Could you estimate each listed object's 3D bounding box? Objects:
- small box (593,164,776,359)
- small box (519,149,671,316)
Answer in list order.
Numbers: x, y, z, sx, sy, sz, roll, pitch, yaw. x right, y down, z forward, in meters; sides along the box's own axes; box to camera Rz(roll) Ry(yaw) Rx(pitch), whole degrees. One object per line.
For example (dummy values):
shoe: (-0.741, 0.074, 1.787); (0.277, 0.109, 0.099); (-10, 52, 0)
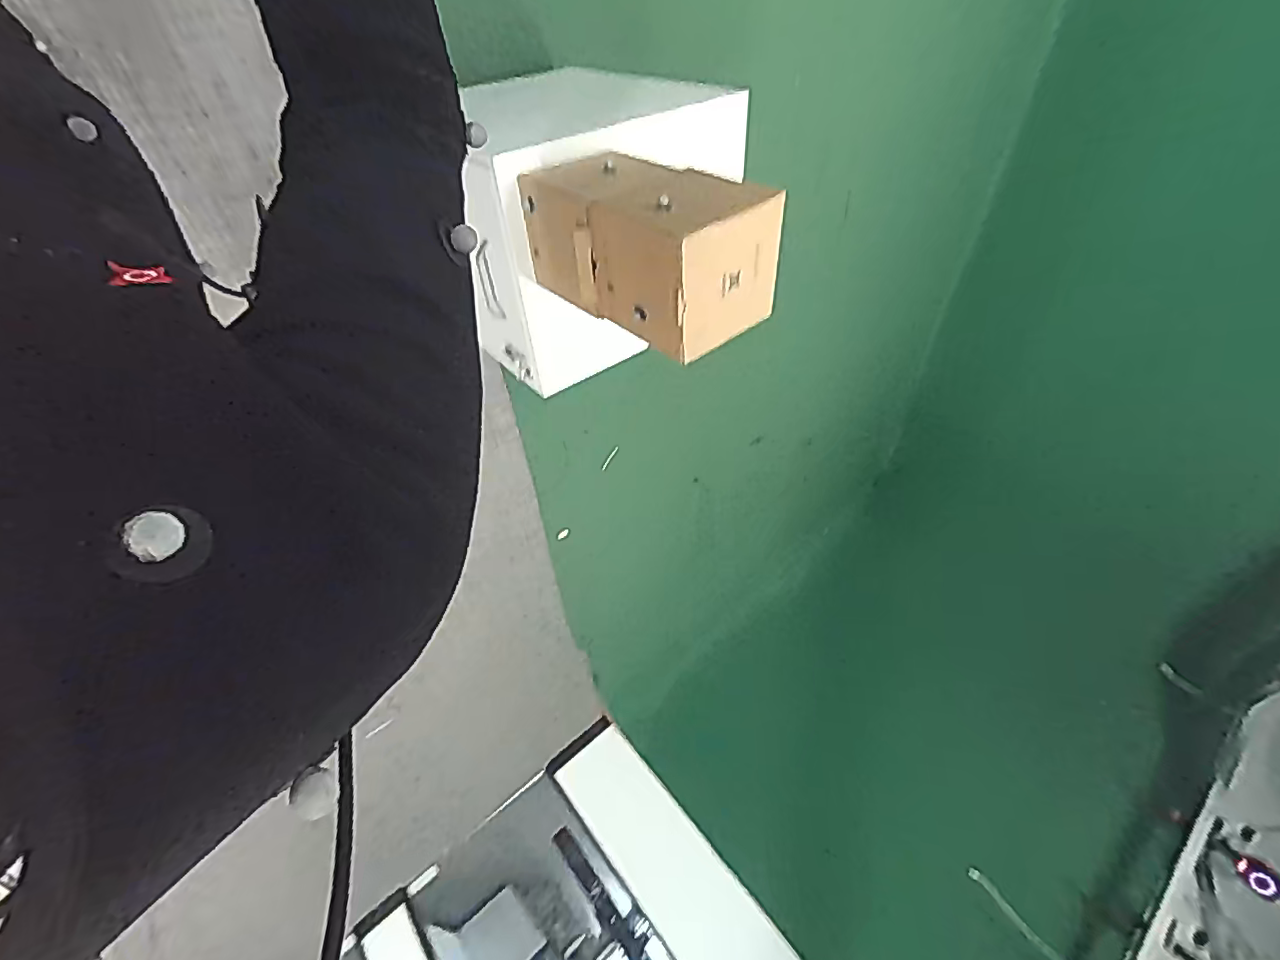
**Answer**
small box: (0.051, -0.294, 0.715); (0.179, 0.176, 0.168); (-36, 145, -25)
small box: (-0.062, -0.372, 0.803); (0.179, 0.176, 0.168); (-33, 143, -27)
